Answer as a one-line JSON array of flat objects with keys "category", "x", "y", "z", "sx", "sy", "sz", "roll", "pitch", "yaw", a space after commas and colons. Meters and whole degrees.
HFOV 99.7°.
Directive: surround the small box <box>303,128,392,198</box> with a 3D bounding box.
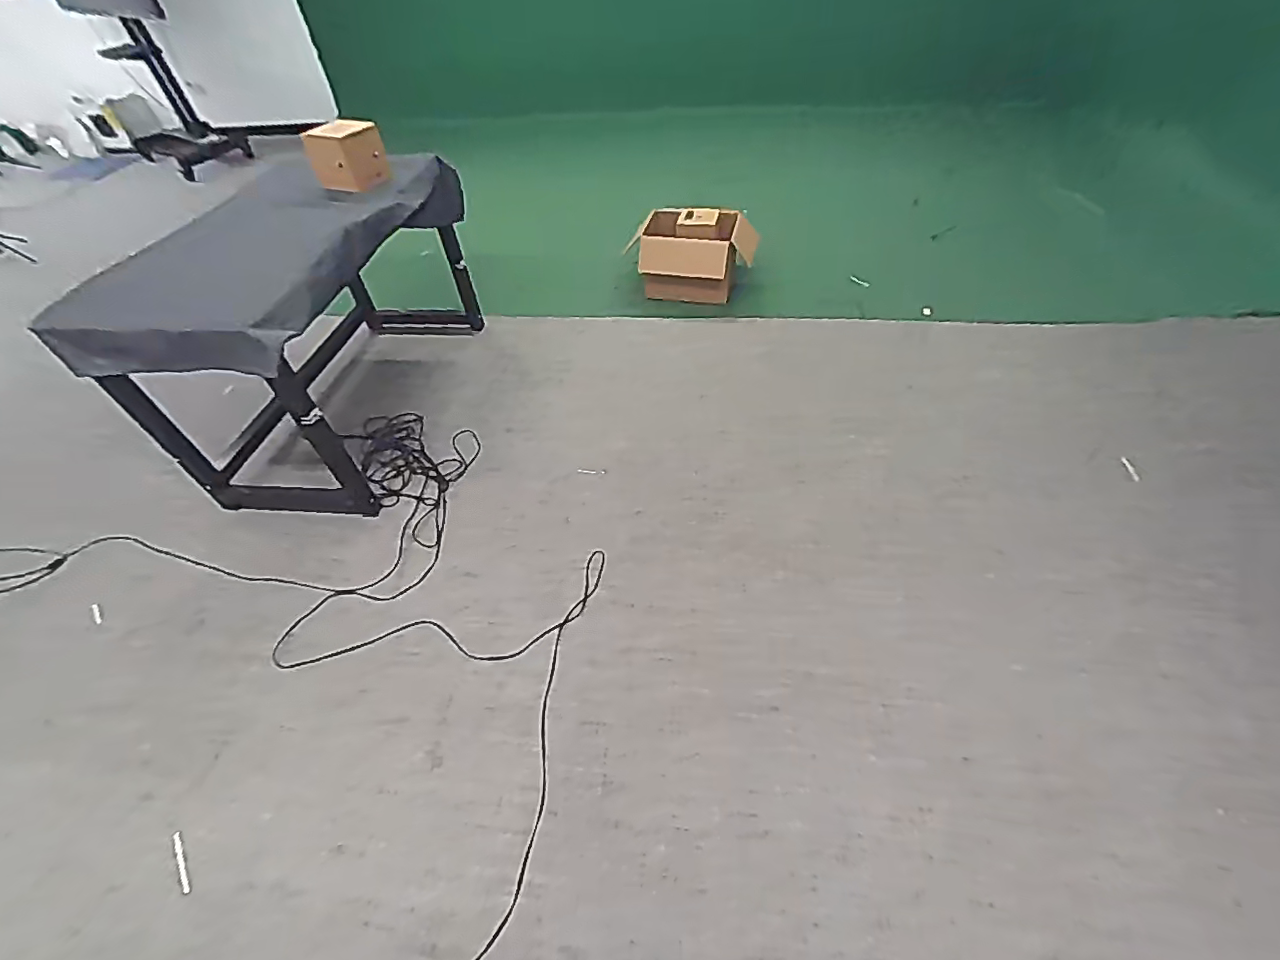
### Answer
[{"category": "small box", "x": -0.988, "y": -1.080, "z": 1.845, "sx": 0.179, "sy": 0.176, "sz": 0.168, "roll": 16, "pitch": 50, "yaw": 20}]
